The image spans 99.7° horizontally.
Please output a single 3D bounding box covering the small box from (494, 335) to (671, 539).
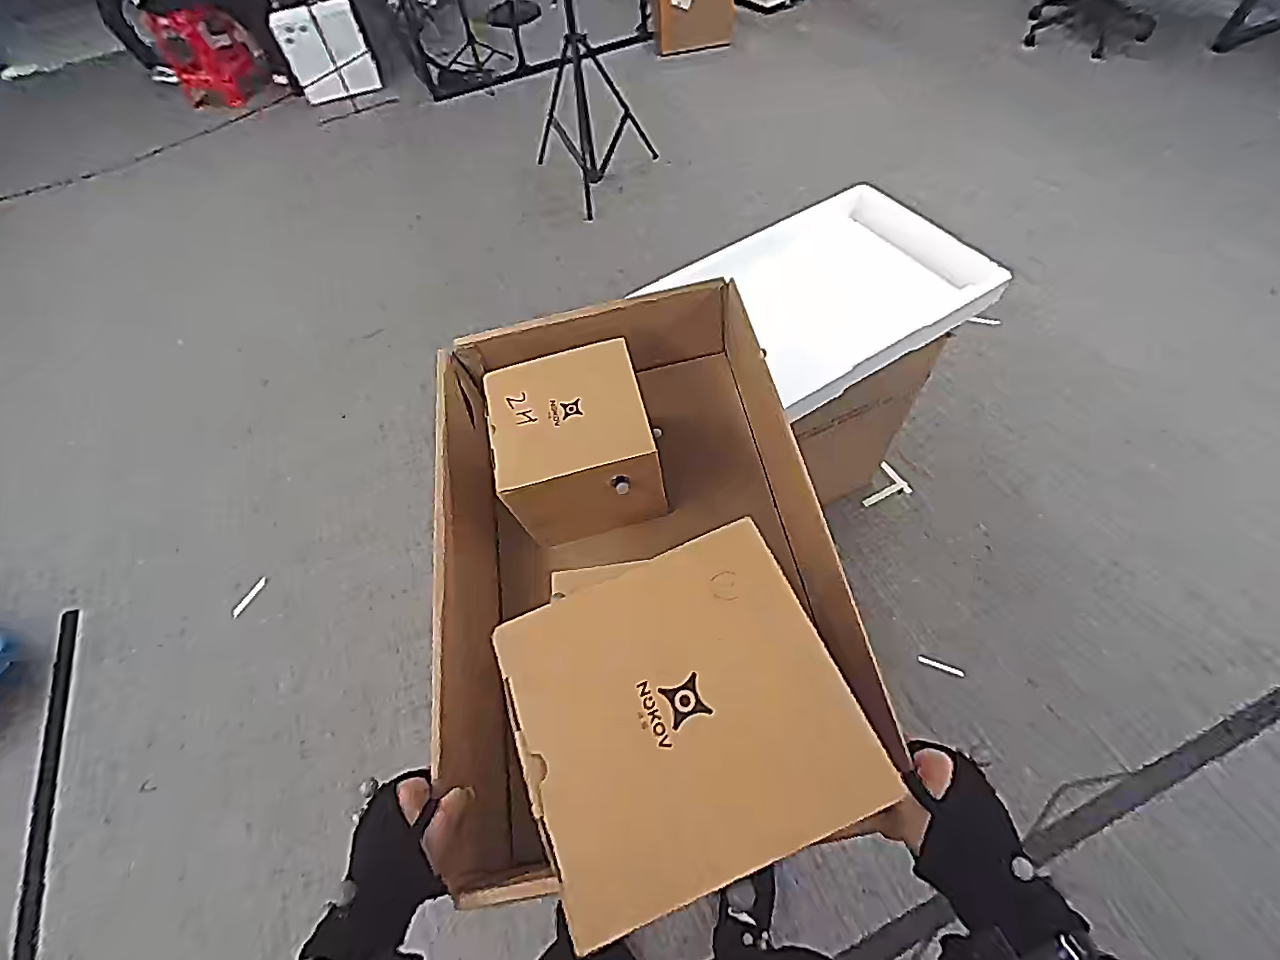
[{"bbox_3d":[-0.063,-0.046,0.670,0.179,0.176,0.168,-15,61,0],"label":"small box"}]
